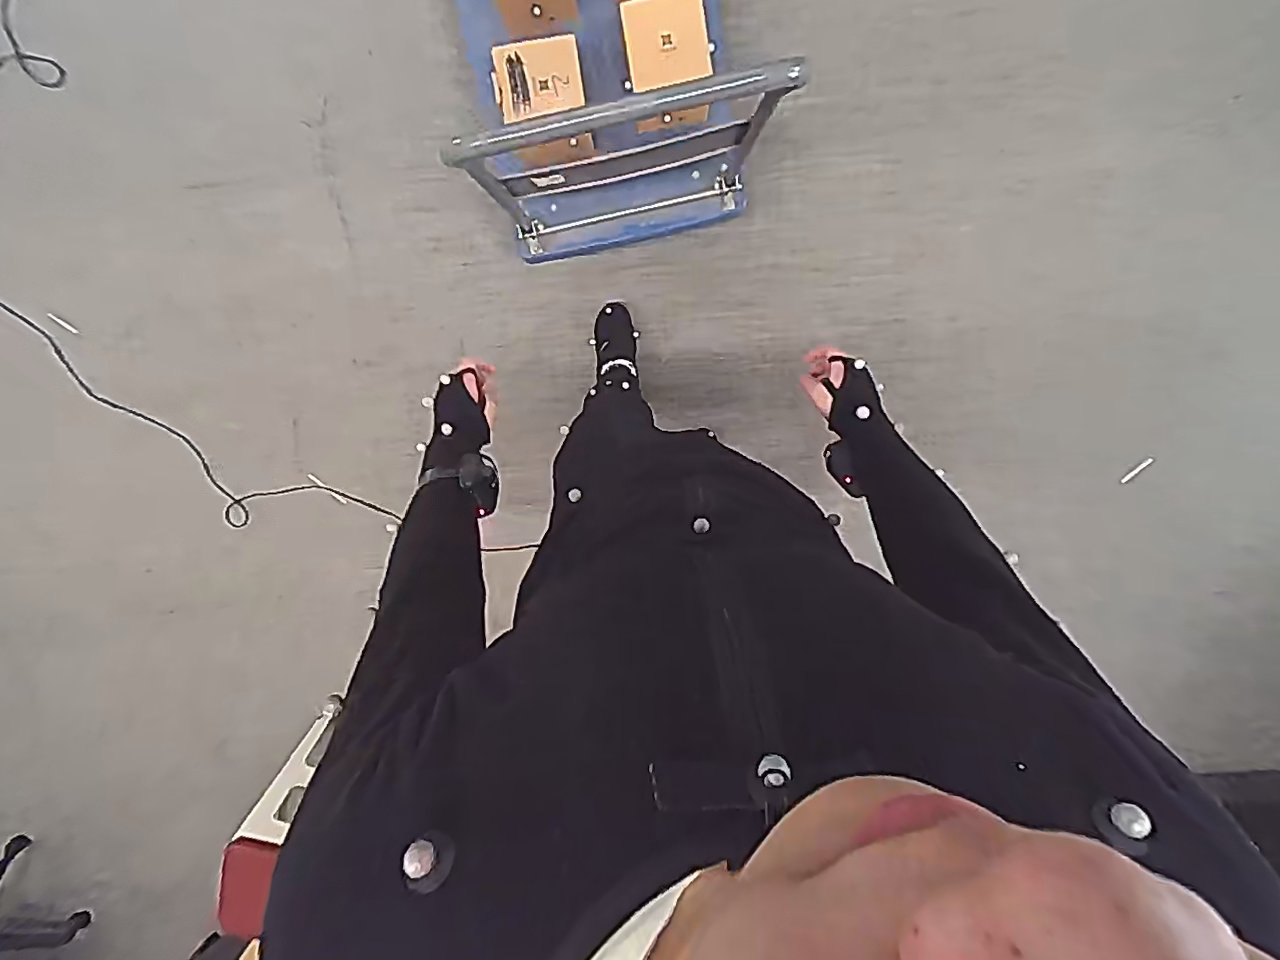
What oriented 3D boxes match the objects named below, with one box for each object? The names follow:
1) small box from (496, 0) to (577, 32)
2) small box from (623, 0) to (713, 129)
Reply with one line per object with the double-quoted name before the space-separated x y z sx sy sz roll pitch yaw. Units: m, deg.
"small box" -0.240 -1.107 1.152 0.168 0.176 0.179 -15 101 4
"small box" 0.058 -0.914 1.185 0.168 0.176 0.179 -11 102 4
